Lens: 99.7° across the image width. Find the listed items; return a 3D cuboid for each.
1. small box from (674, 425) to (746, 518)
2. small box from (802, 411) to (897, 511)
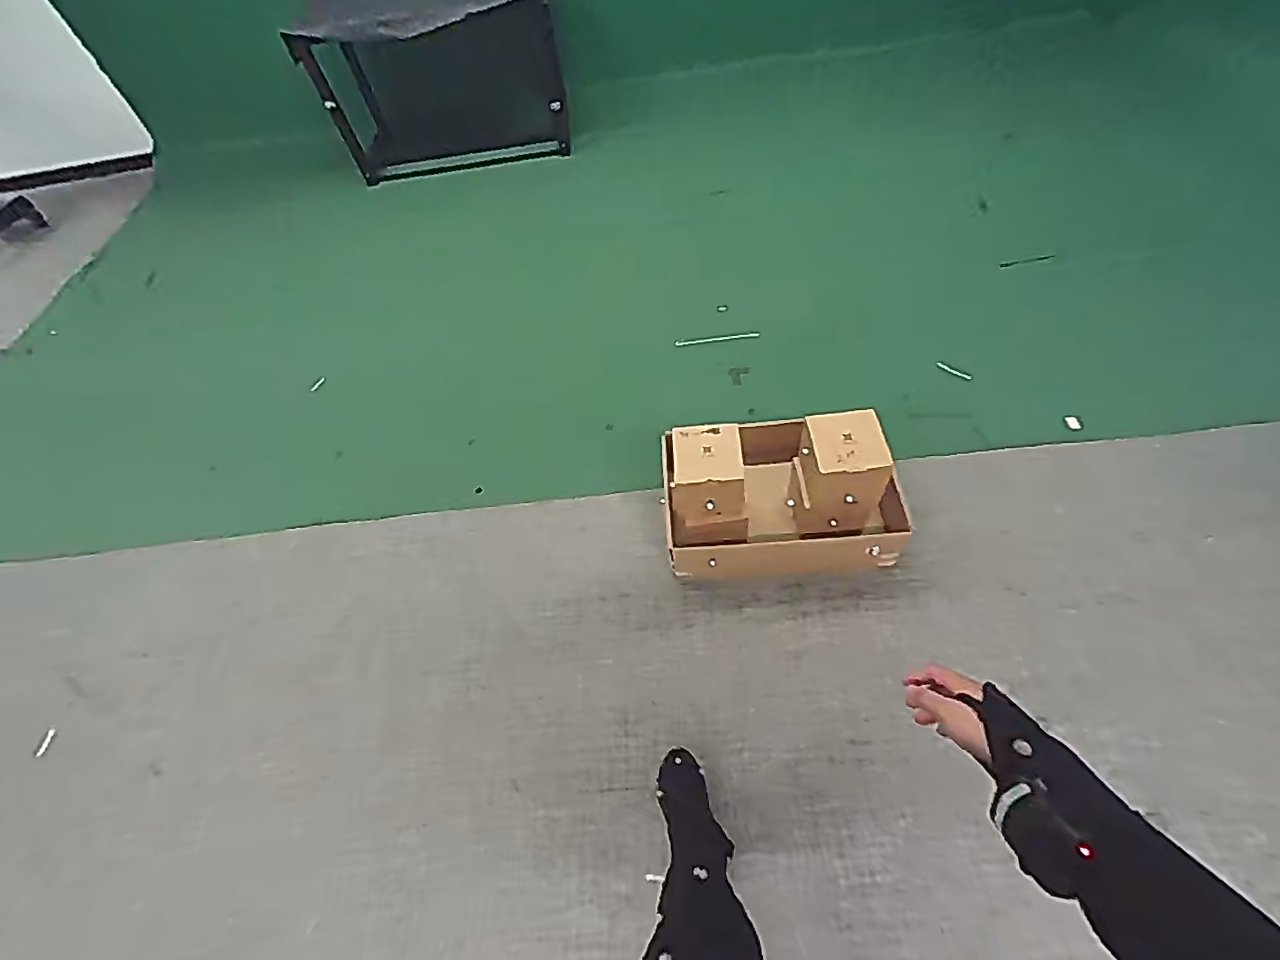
[{"bbox_3d":[0.175,-0.013,1.356,0.168,0.176,0.179,-4,57,6],"label":"small box"},{"bbox_3d":[0.503,-0.044,1.328,0.168,0.176,0.179,-6,56,6],"label":"small box"}]
